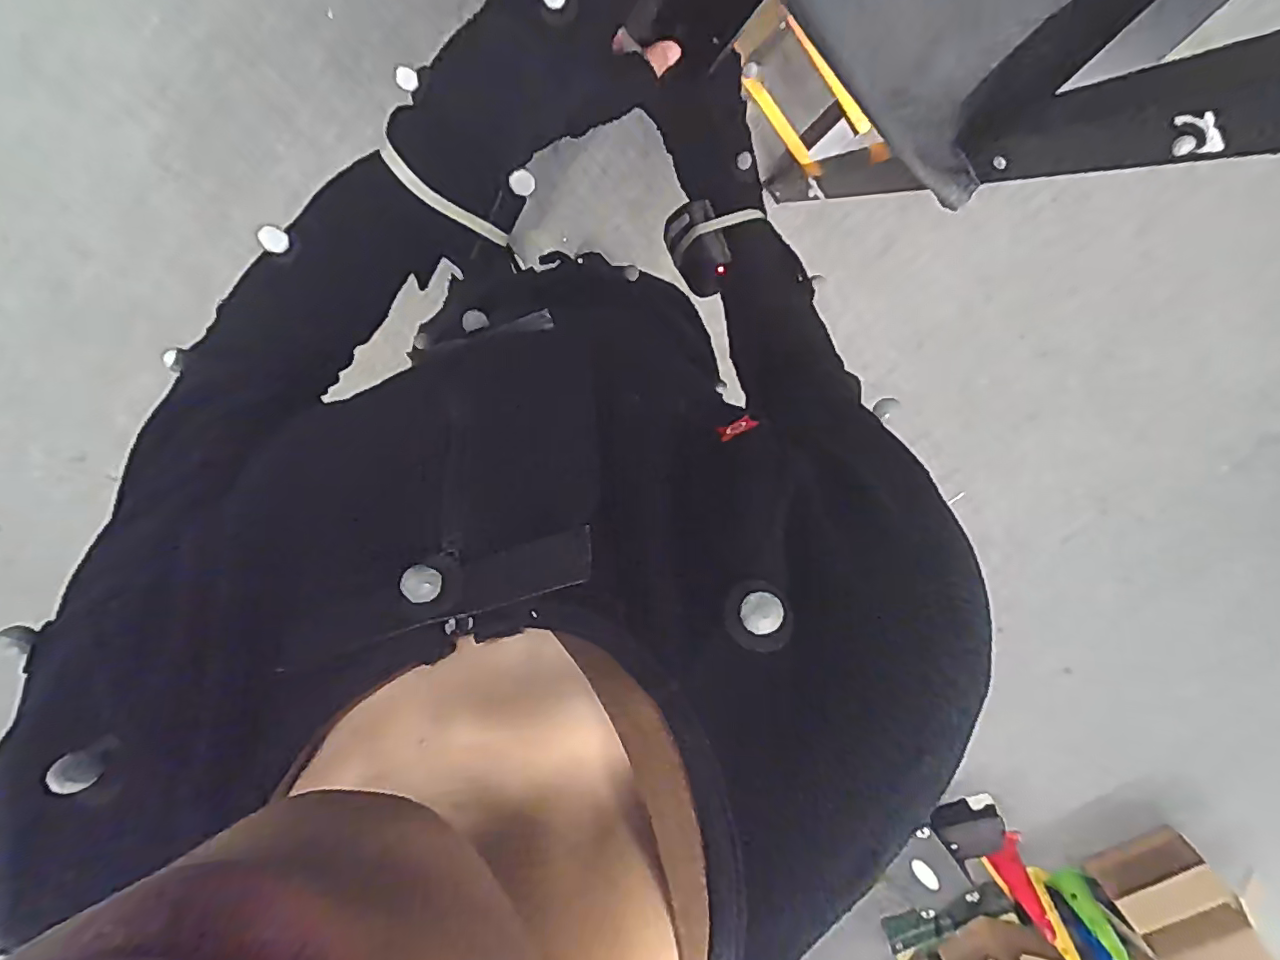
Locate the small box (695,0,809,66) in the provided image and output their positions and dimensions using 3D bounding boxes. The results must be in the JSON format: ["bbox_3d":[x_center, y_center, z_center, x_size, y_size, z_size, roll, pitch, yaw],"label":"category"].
[{"bbox_3d":[0.204,-0.874,0.941,0.179,0.176,0.168,-38,112,14],"label":"small box"}]
